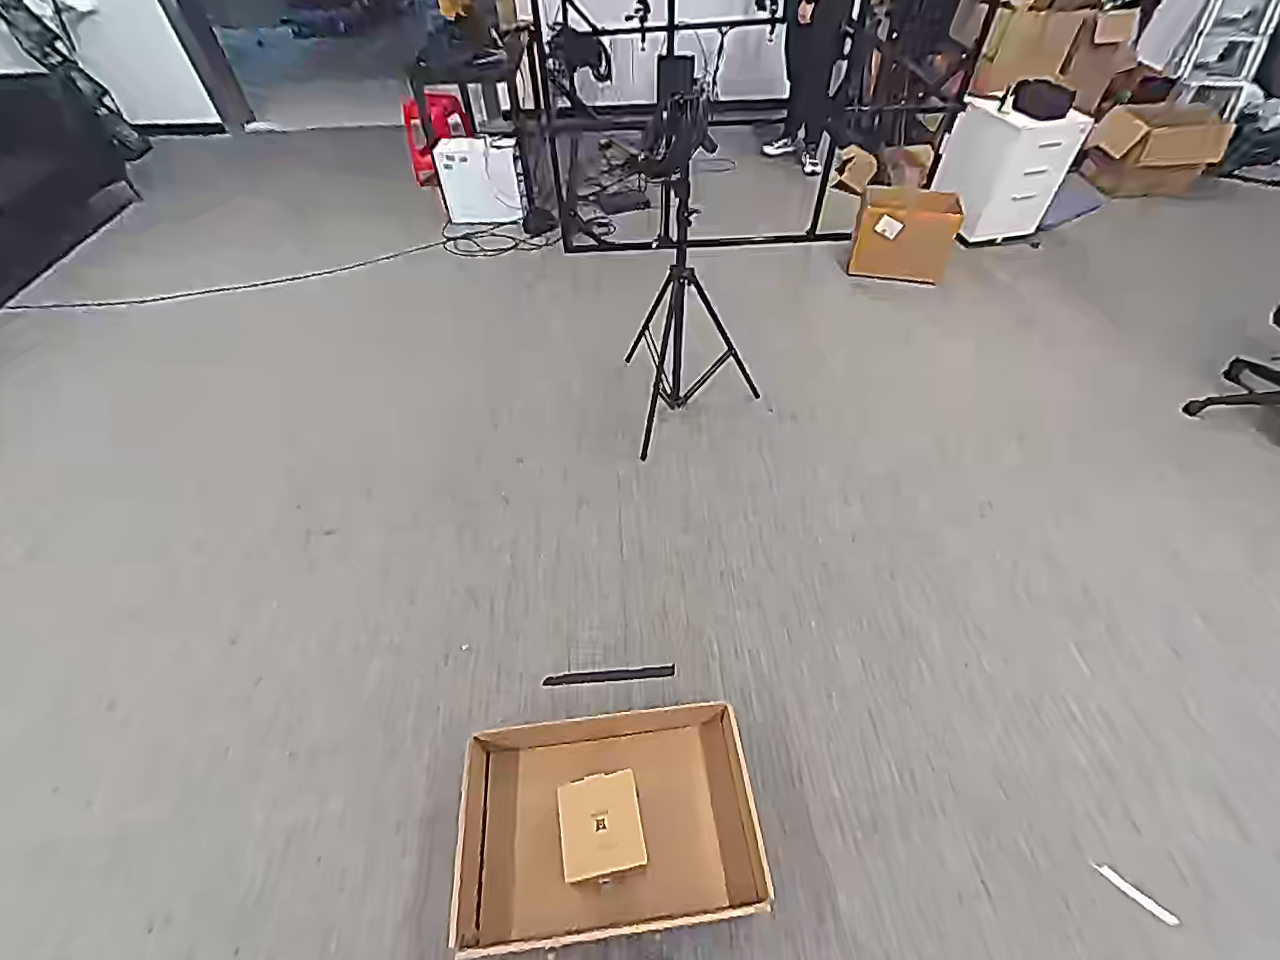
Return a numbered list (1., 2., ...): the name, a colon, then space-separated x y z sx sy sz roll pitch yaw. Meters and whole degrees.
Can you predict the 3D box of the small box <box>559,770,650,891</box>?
1. small box: -0.075 0.756 1.163 0.168 0.176 0.179 -11 50 -6
